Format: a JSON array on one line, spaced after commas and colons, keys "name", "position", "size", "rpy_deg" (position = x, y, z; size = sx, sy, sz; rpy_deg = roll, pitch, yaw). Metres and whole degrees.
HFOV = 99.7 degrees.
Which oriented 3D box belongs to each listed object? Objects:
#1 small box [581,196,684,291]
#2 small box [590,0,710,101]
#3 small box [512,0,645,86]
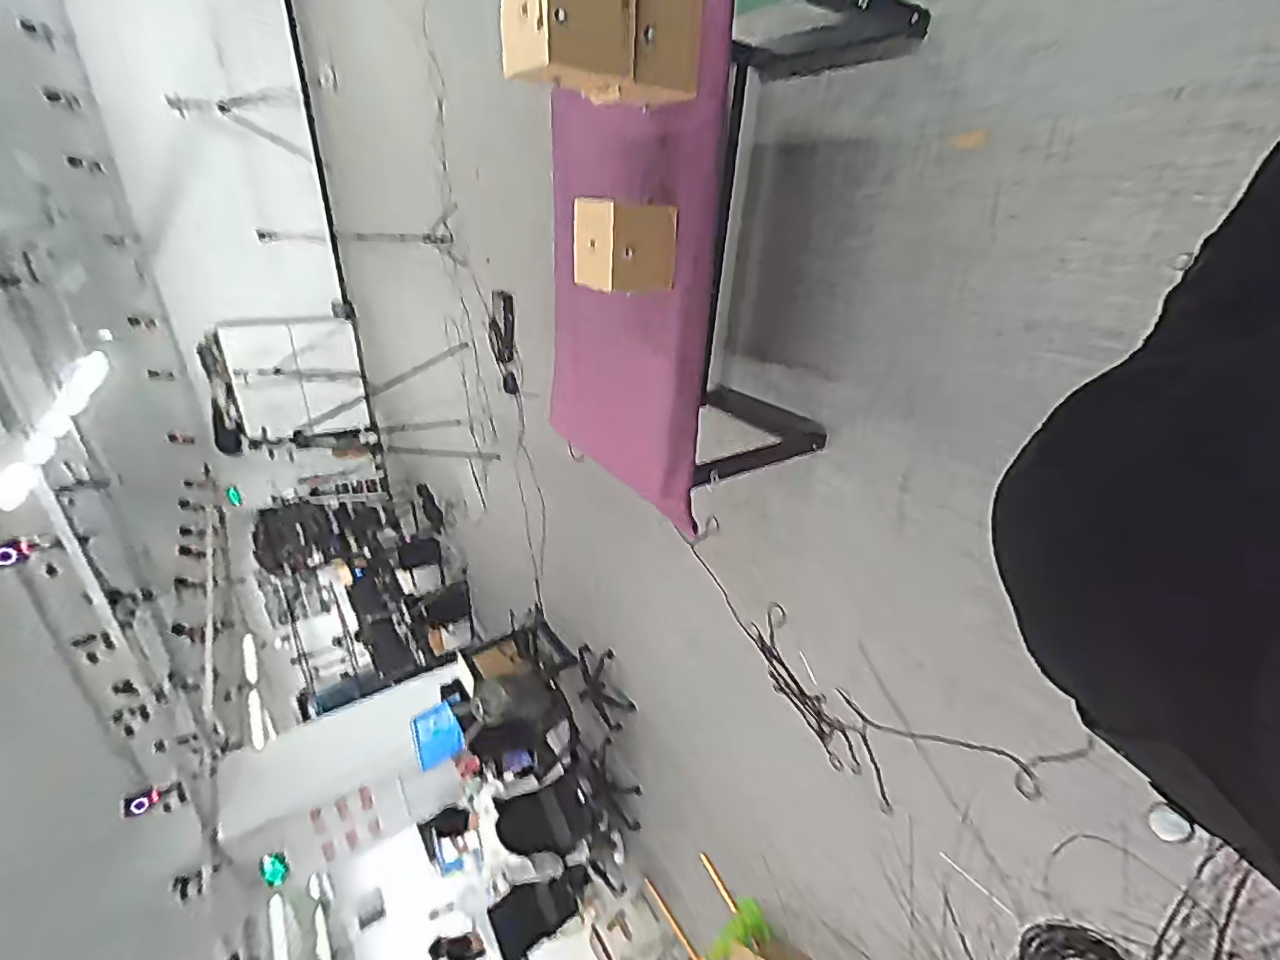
[{"name": "small box", "position": [-0.018, -0.528, 1.205], "size": [0.168, 0.176, 0.179], "rpy_deg": [37, 131, 46]}, {"name": "small box", "position": [0.016, -0.836, 1.022], "size": [0.168, 0.176, 0.179], "rpy_deg": [32, 129, 46]}, {"name": "small box", "position": [-0.108, -0.790, 0.923], "size": [0.179, 0.176, 0.168], "rpy_deg": [36, 132, 46]}]
